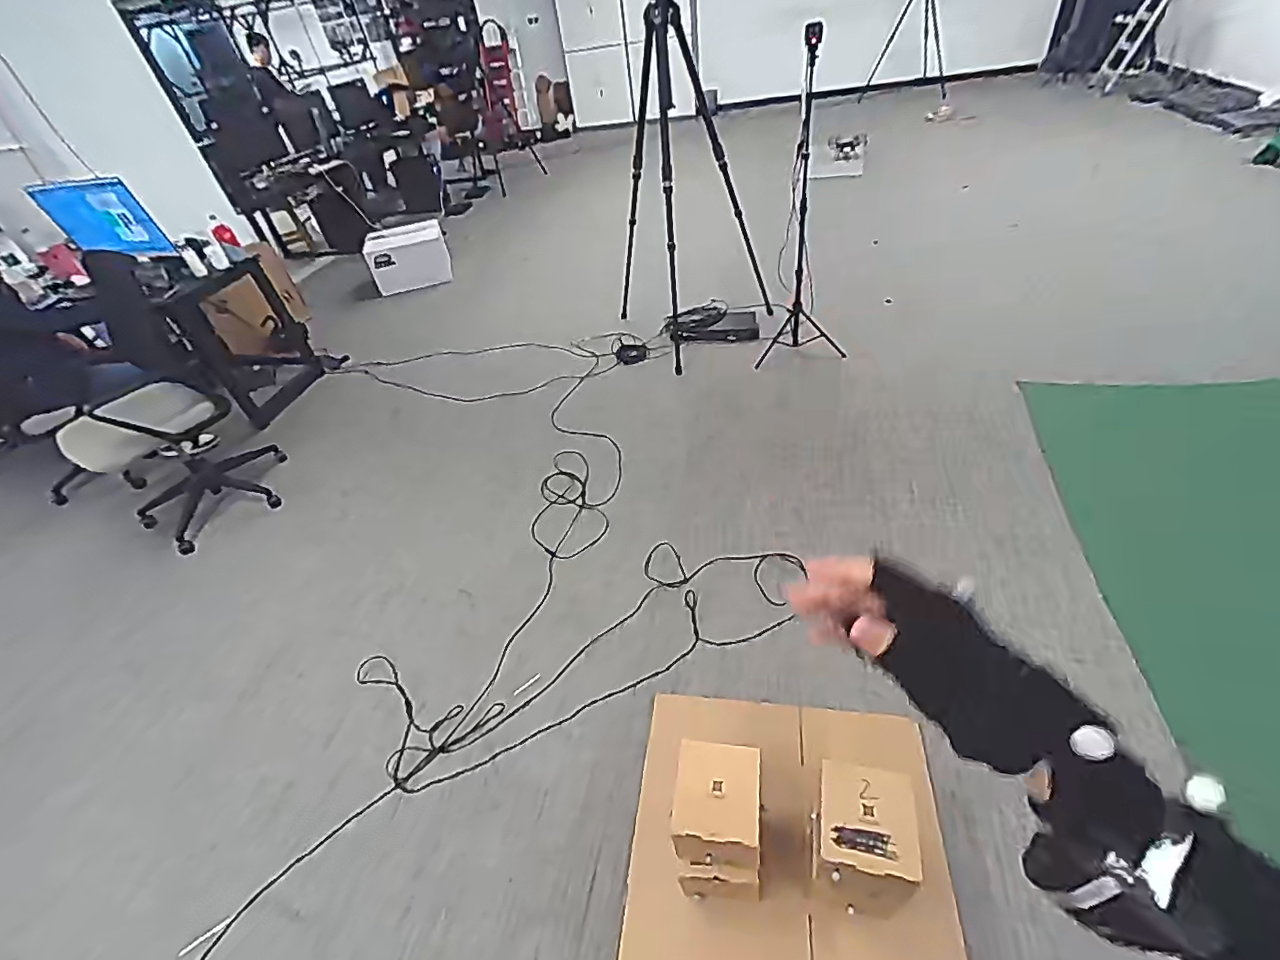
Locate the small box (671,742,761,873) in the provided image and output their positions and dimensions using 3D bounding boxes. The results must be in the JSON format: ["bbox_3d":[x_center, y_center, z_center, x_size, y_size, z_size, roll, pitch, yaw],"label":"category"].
[{"bbox_3d":[0.161,0.669,1.108,0.168,0.176,0.179,1,43,13],"label":"small box"}]

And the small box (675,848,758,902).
[{"bbox_3d":[0.174,0.808,1.197,0.168,0.176,0.179,-1,42,11],"label":"small box"}]

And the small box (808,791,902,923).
[{"bbox_3d":[0.449,0.801,1.150,0.168,0.176,0.179,3,44,16],"label":"small box"}]
